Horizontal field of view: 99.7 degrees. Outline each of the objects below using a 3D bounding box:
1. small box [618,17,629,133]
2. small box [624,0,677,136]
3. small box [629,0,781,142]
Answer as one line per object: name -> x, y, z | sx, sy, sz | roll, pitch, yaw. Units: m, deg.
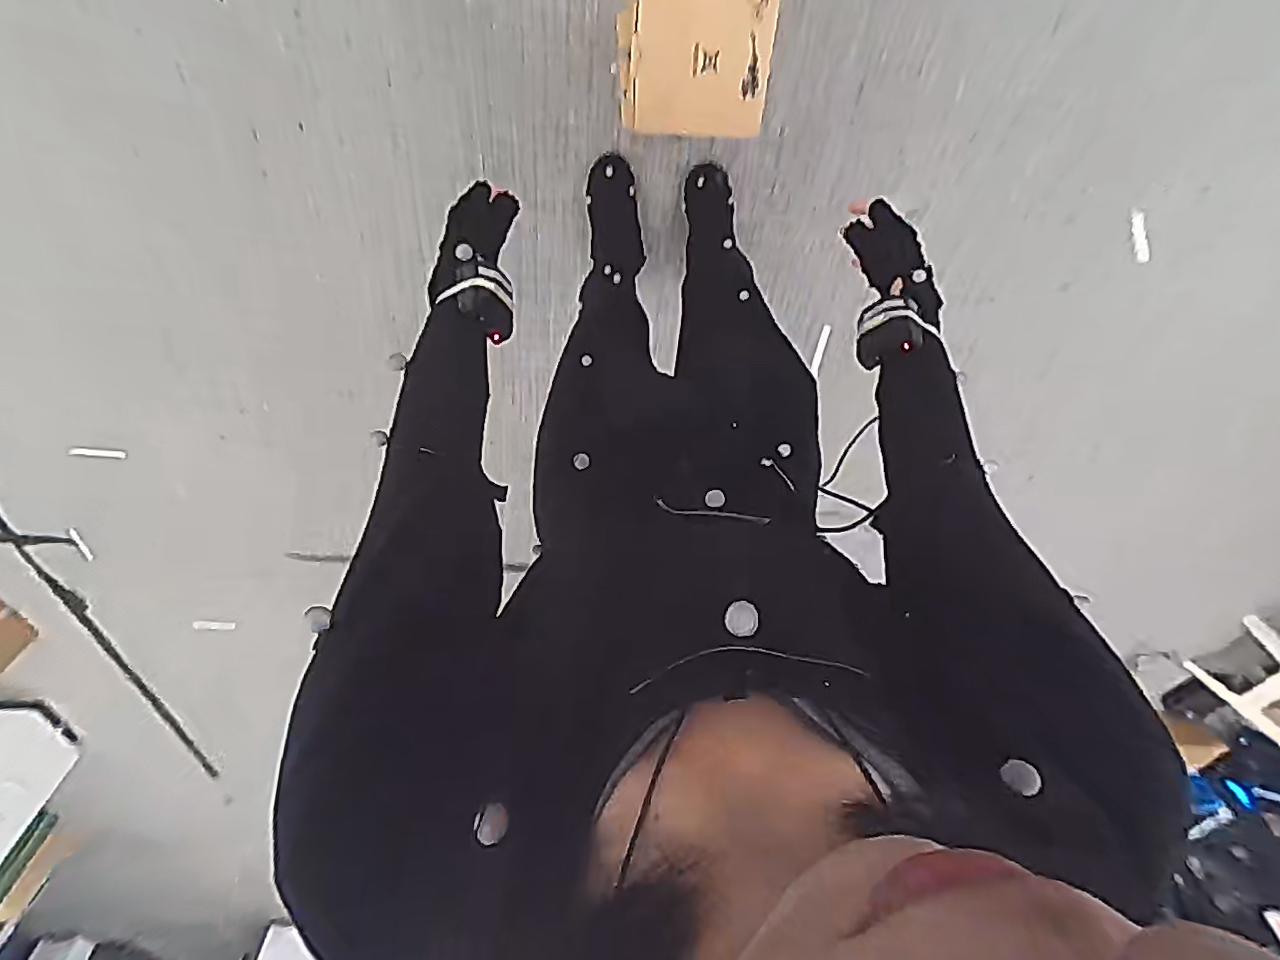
small box -> 0.049, -0.757, 1.012 | 0.179, 0.176, 0.168 | -1, 127, 0
small box -> 0.061, -0.668, 0.876 | 0.168, 0.176, 0.179 | 0, 126, -4
small box -> 0.075, -0.574, 0.743 | 0.179, 0.176, 0.168 | 1, 128, -4
